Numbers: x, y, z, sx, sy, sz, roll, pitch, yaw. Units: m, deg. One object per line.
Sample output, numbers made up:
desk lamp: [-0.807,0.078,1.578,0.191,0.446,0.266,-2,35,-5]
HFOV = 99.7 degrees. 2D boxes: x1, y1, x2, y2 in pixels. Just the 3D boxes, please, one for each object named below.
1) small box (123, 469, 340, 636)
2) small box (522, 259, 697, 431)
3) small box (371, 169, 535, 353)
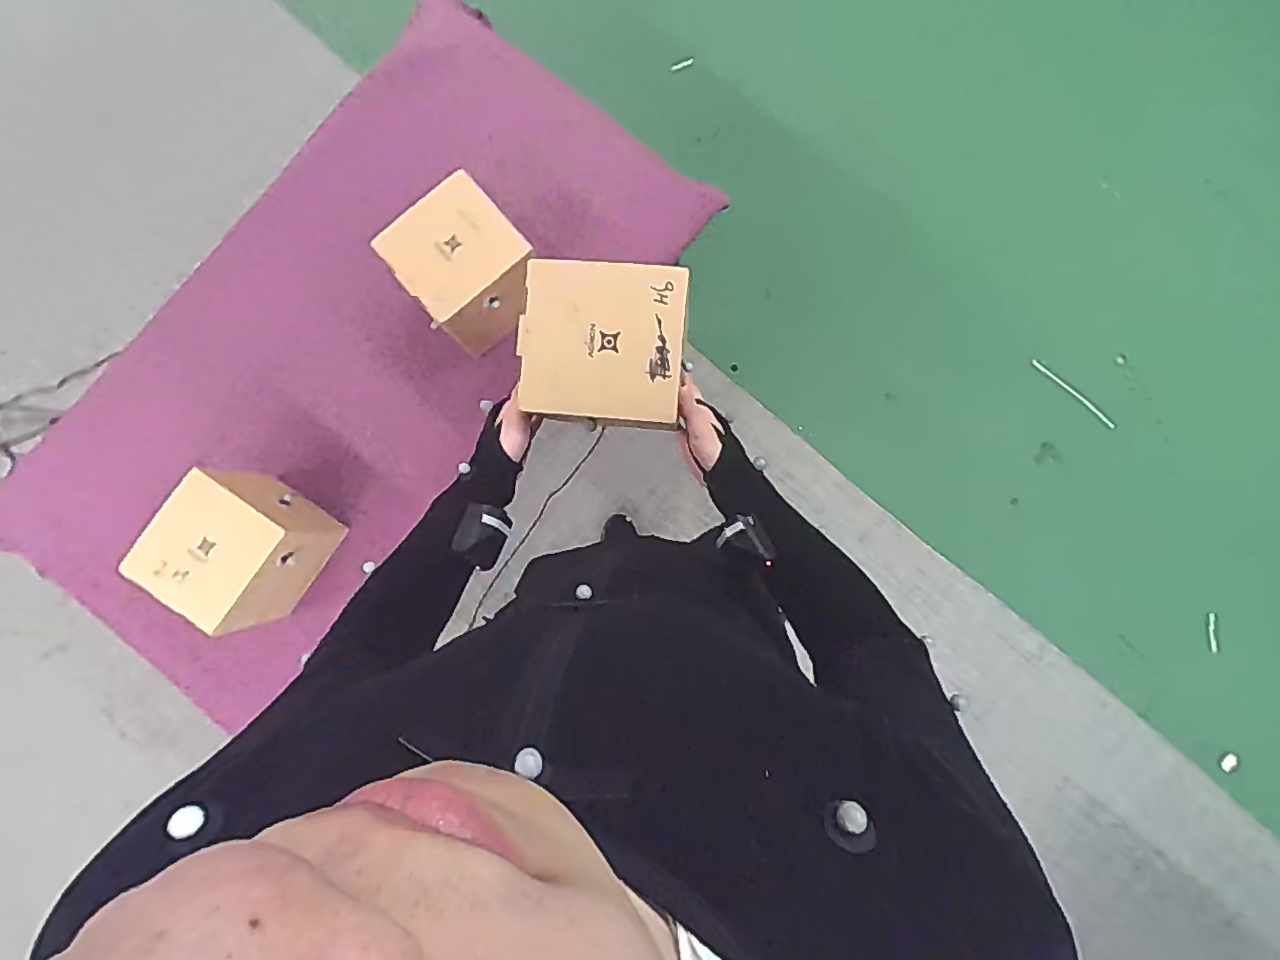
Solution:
small box: [-0.601,0.104,0.827,0.168,0.176,0.179,34,87,2]
small box: [-0.027,-0.150,0.653,0.179,0.176,0.168,6,93,4]
small box: [-0.271,-0.331,0.855,0.179,0.176,0.168,-41,87,-2]
